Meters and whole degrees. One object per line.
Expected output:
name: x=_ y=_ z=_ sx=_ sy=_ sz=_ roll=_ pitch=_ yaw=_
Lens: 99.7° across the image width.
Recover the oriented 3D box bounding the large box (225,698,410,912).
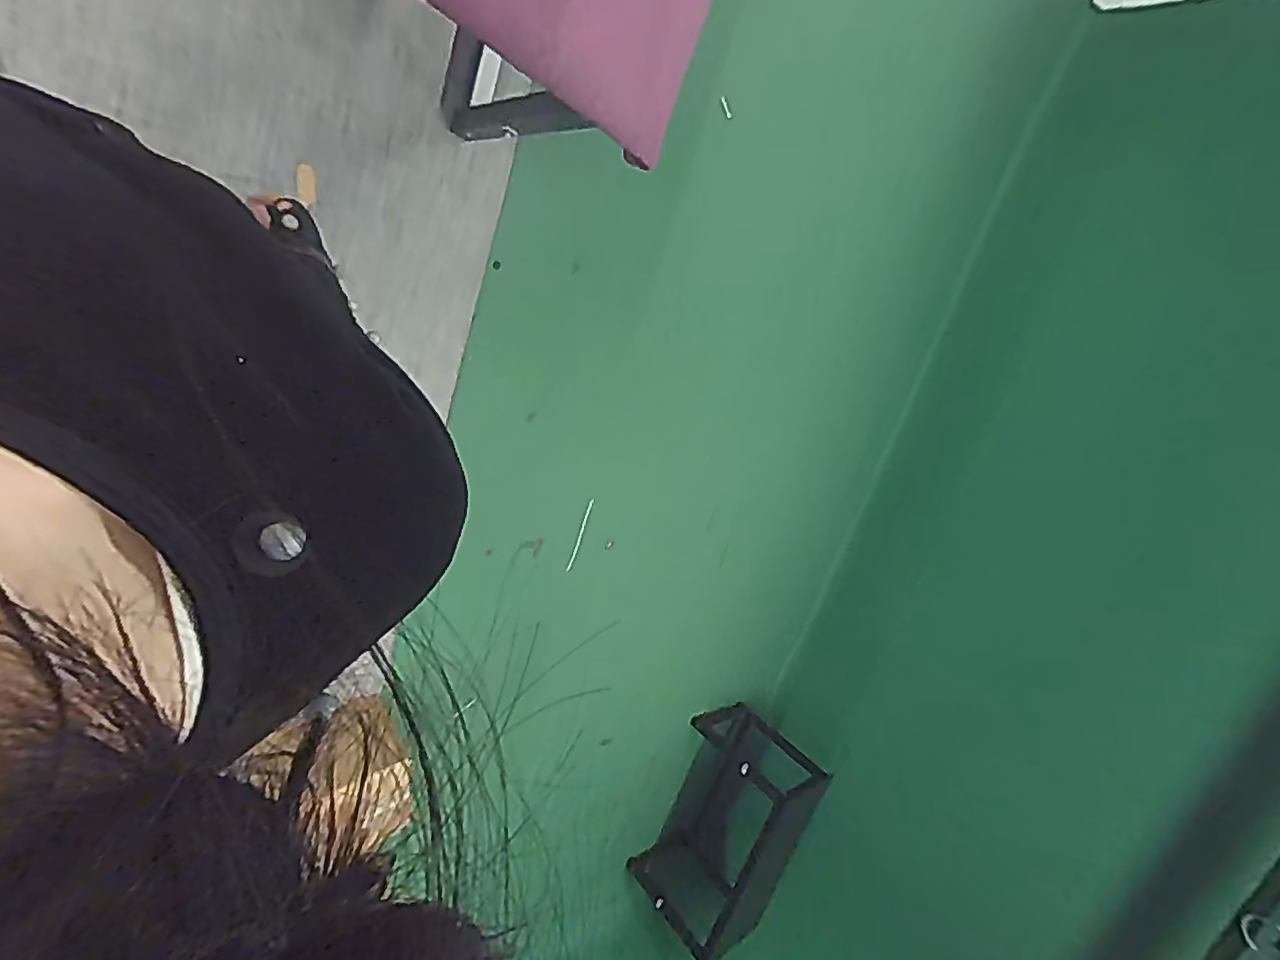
large box: x=-0.961 y=0.946 z=1.631 sx=0.408 sy=0.320 sz=0.320 roll=-12 pitch=121 yaw=-41

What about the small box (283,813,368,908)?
small box: x=-0.833 y=1.030 z=1.436 sx=0.168 sy=0.176 sz=0.179 roll=-11 pitch=119 yaw=-40

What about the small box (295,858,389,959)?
small box: x=-0.730 y=1.093 z=1.325 sx=0.179 sy=0.176 sz=0.168 roll=-12 pitch=119 yaw=-40
